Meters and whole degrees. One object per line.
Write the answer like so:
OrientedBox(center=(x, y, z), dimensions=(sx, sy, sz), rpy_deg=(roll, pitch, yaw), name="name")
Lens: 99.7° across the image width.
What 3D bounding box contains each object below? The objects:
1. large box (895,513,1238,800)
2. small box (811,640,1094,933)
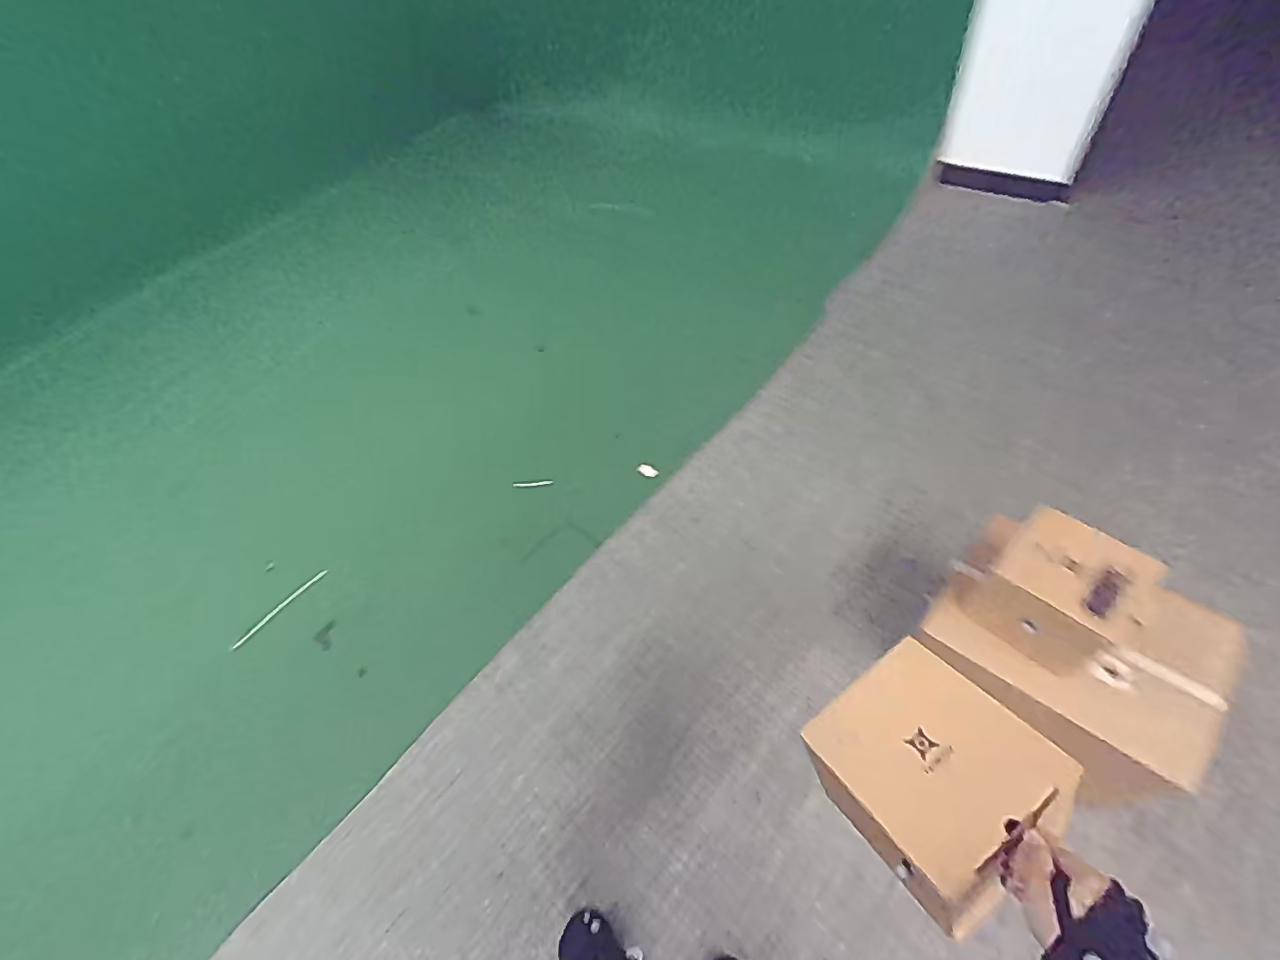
OrientedBox(center=(0.775, 0.340, 1.059), dimensions=(0.408, 0.320, 0.320), rpy_deg=(32, 68, 28), name="large box")
OrientedBox(center=(0.306, 0.311, 0.556), dimensions=(0.168, 0.176, 0.179), rpy_deg=(-35, 39, -10), name="small box")
